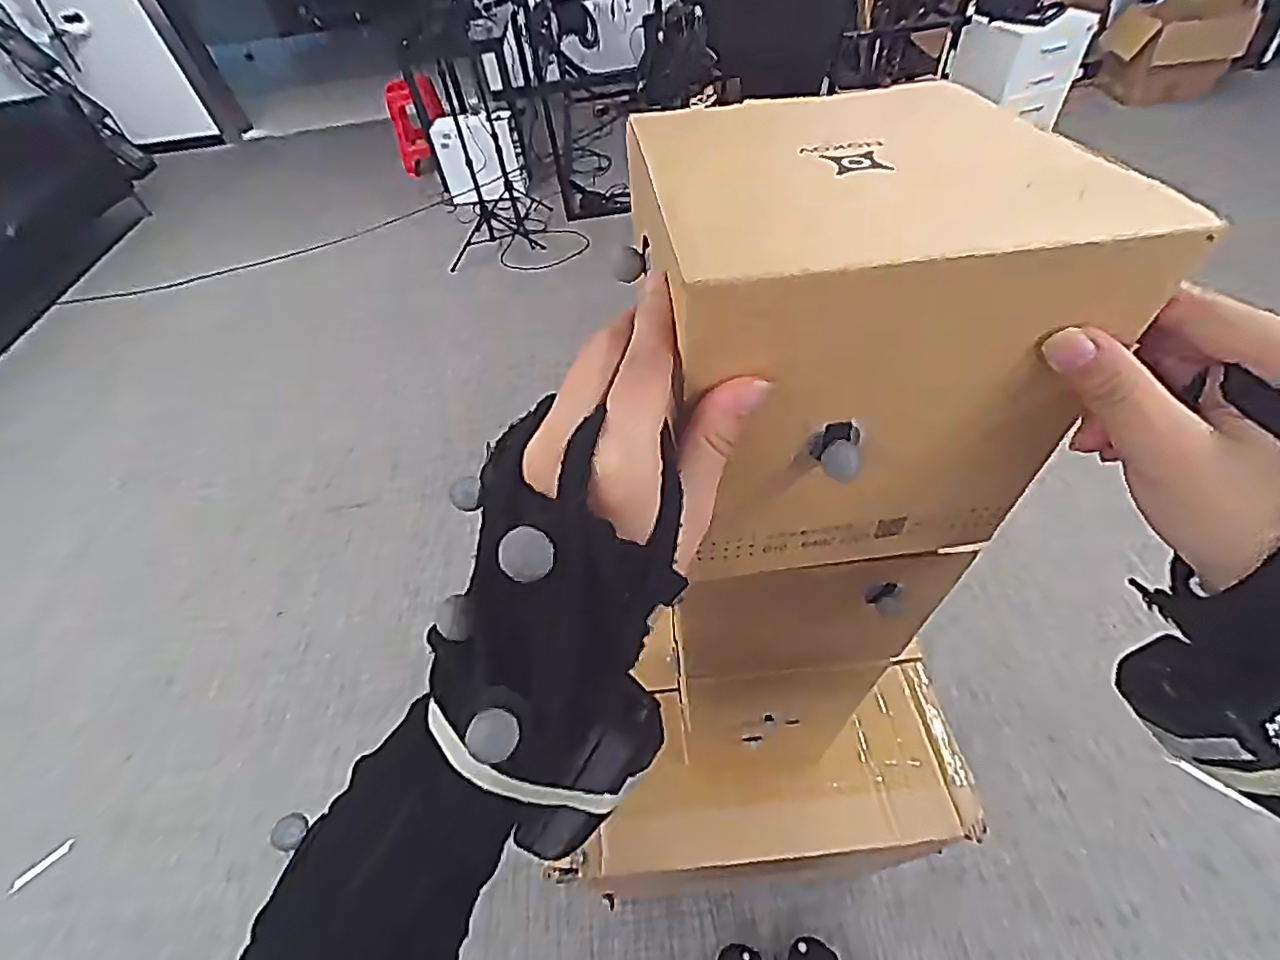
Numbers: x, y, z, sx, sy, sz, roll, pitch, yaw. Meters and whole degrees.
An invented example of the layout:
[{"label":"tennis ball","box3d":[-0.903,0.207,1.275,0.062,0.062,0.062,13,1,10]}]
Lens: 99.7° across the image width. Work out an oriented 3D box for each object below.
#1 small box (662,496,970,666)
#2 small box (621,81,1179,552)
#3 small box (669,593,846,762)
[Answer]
[{"label":"small box","box3d":[0.107,0.032,0.422,0.179,0.176,0.168,-7,51,2]},{"label":"small box","box3d":[0.085,-0.077,0.280,0.168,0.176,0.179,-7,47,-2]},{"label":"small box","box3d":[0.134,0.241,0.676,0.179,0.176,0.168,-6,51,2]}]
